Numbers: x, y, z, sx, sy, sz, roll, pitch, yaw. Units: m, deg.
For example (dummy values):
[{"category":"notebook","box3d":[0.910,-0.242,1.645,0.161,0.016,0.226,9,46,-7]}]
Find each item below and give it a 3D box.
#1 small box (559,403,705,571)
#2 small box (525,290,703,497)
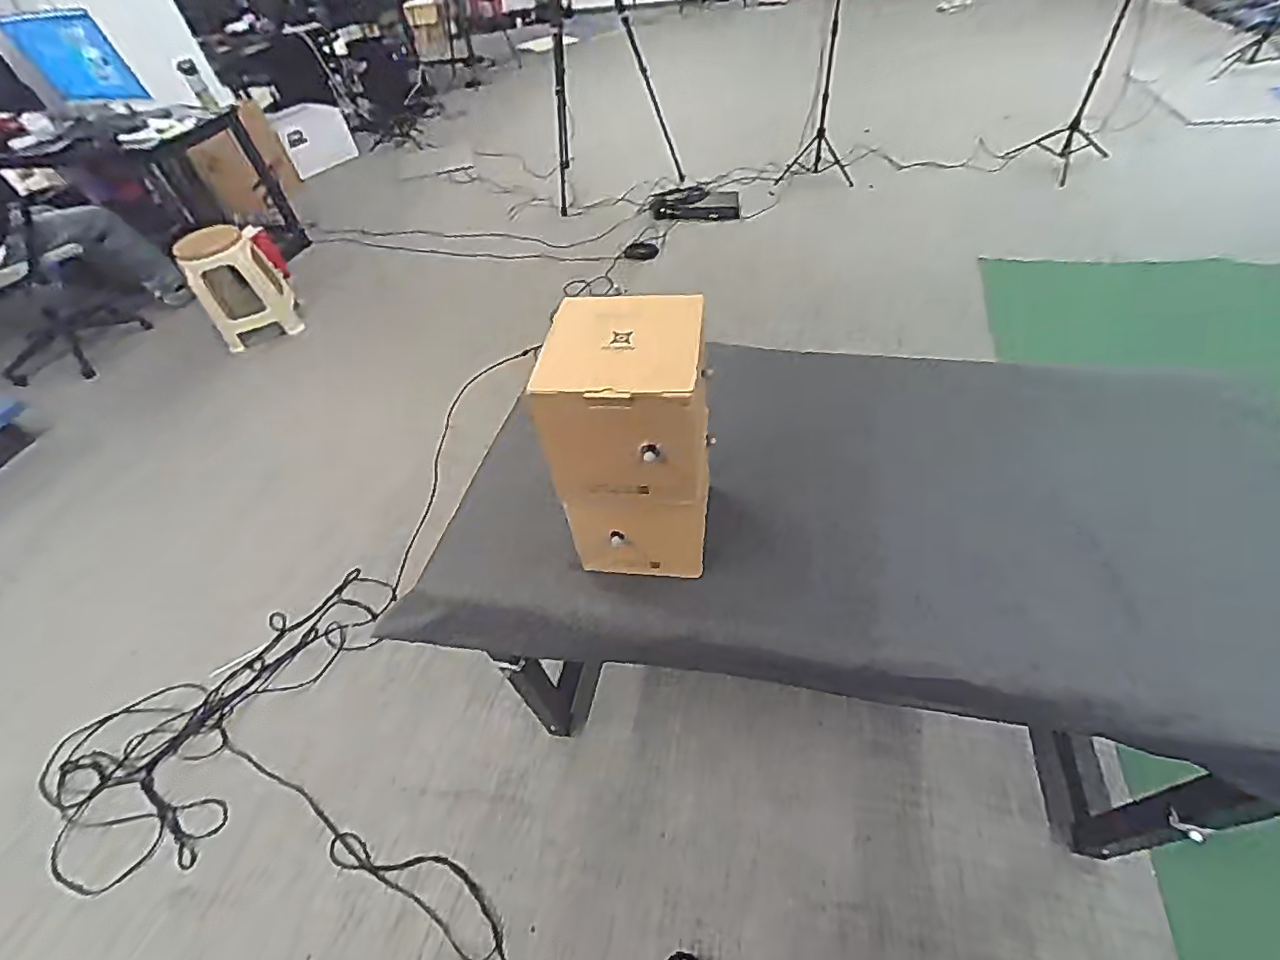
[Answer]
[{"category":"small box","box3d":[0.002,0.008,0.744,0.168,0.176,0.179,3,49,9]},{"category":"small box","box3d":[-0.014,-0.097,0.621,0.168,0.176,0.179,3,48,8]}]
